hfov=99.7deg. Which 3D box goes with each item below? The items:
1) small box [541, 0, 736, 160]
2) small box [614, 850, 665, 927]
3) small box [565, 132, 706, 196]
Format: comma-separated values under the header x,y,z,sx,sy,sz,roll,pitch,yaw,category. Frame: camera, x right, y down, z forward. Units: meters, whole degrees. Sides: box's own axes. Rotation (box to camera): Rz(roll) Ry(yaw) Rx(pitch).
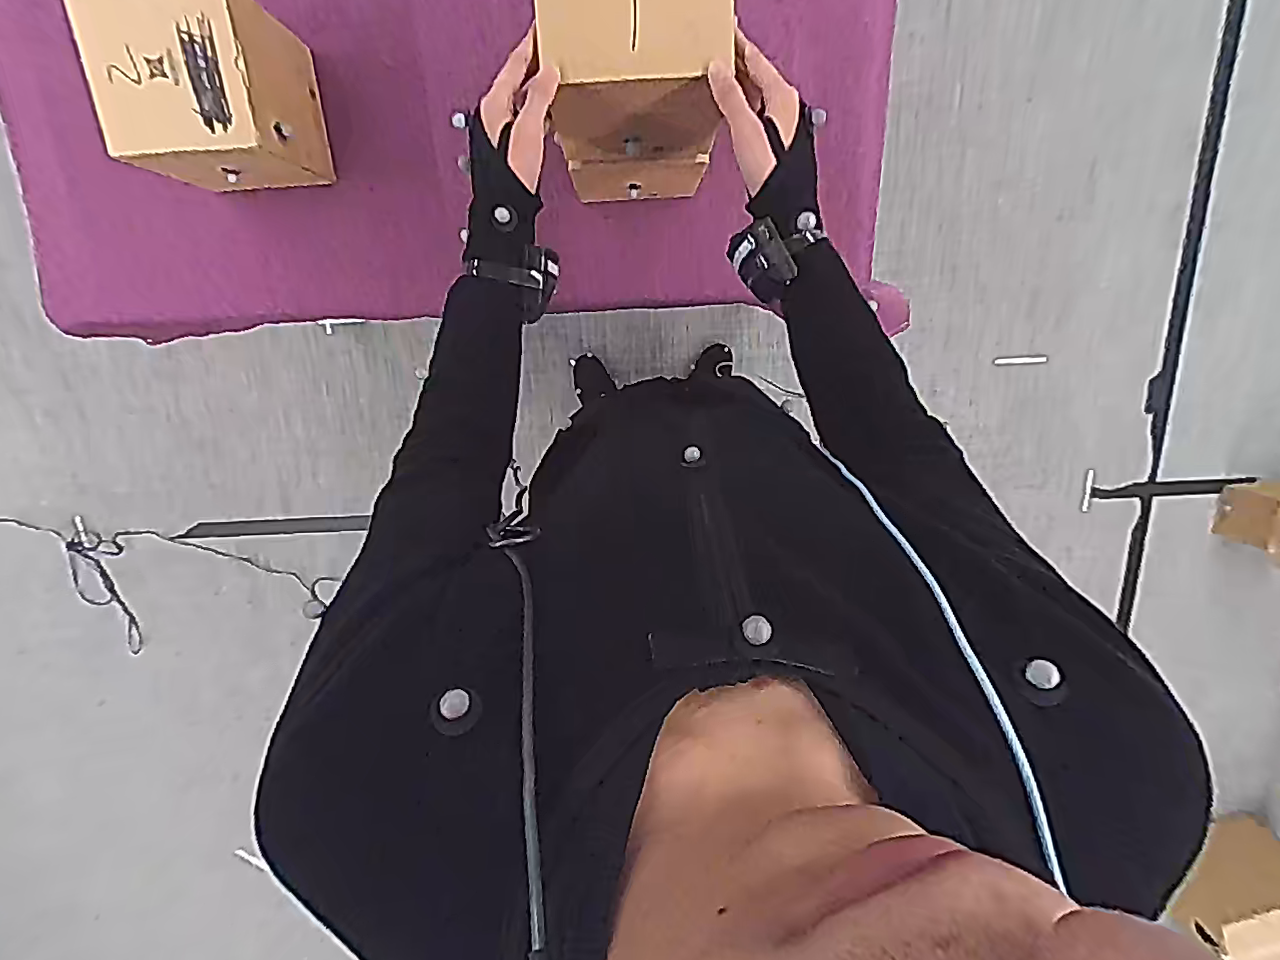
x,y,z,sx,sy,sz,roll,pitch,yaw,category
-0.004,-0.437,0.521,0.168,0.176,0.179,-3,103,0,small box
-0.005,1.519,2.019,0.179,0.176,0.168,4,105,-4,small box
-0.007,-0.471,0.686,0.168,0.176,0.179,-3,106,-1,small box
